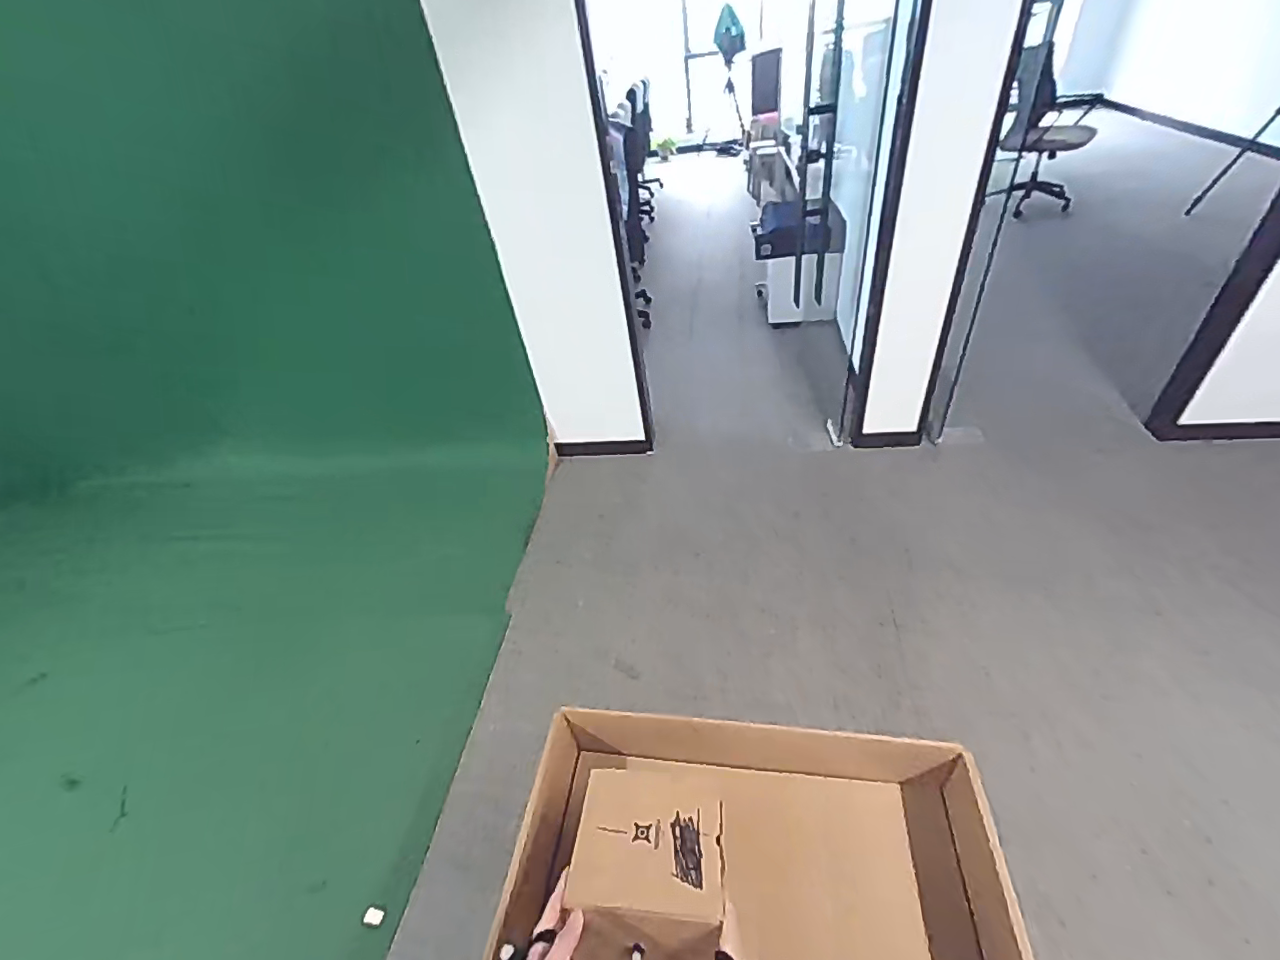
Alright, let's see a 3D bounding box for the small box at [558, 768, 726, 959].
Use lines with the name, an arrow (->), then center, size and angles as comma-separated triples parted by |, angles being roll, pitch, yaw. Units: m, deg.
small box -> 0.015, 0.488, 0.661 | 0.179, 0.176, 0.168 | 0, 25, 9
